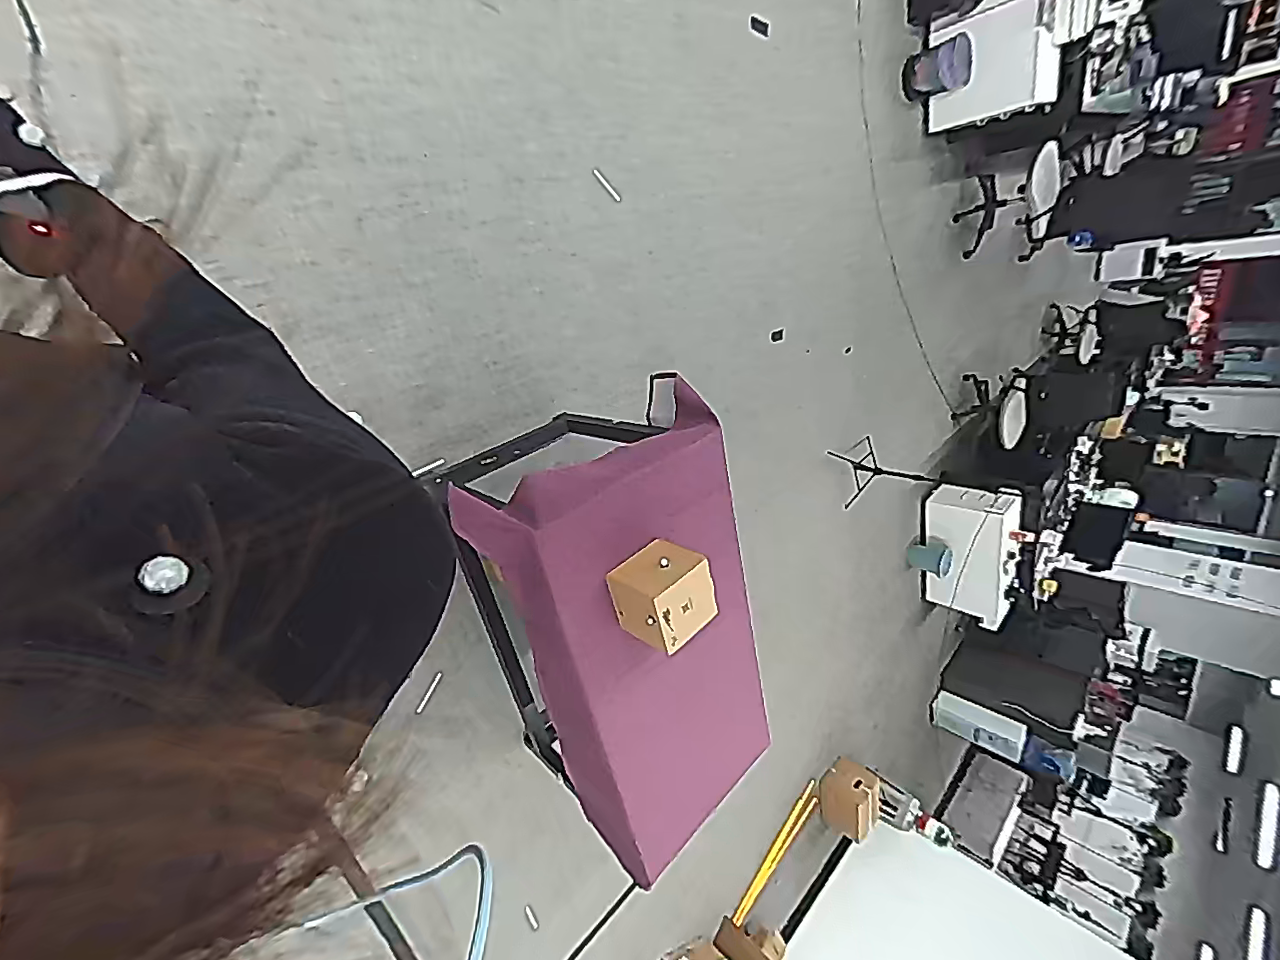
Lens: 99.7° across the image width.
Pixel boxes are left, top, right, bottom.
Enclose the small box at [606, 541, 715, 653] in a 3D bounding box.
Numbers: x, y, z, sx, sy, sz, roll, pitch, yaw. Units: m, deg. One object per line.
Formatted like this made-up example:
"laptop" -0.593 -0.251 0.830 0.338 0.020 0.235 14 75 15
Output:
"small box" 0.049 0.266 1.277 0.179 0.176 0.168 -32 120 -34
